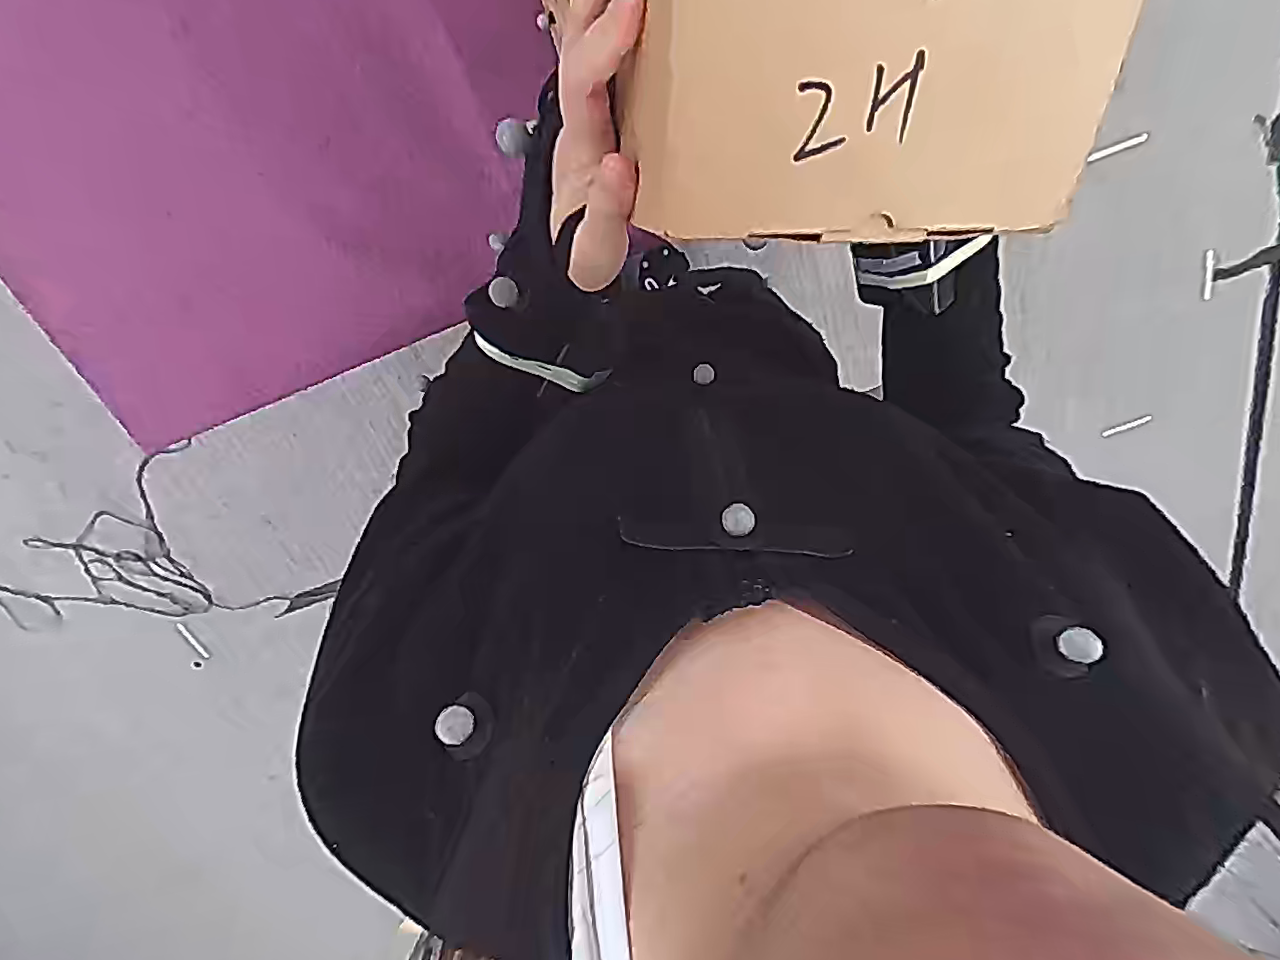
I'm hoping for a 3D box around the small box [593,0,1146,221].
[{"bbox_3d":[0.071,-0.209,0.224,0.168,0.176,0.179,-6,120,-10],"label":"small box"}]

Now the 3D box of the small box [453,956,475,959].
[{"bbox_3d":[-0.516,1.552,1.584,0.168,0.176,0.179,25,109,-16],"label":"small box"}]

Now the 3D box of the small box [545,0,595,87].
[{"bbox_3d":[-0.009,-0.485,0.480,0.179,0.176,0.168,-19,115,1],"label":"small box"}]
